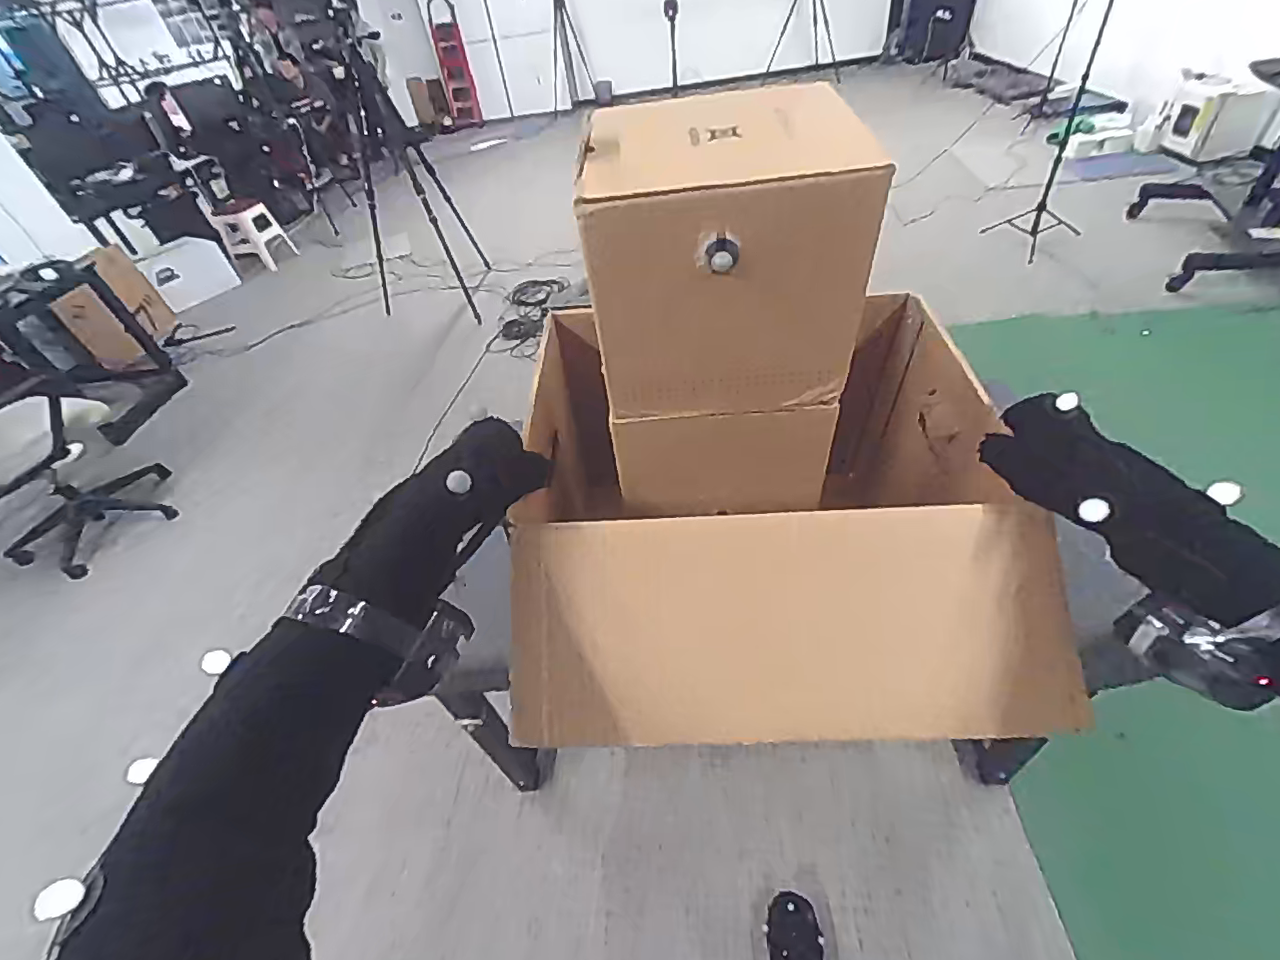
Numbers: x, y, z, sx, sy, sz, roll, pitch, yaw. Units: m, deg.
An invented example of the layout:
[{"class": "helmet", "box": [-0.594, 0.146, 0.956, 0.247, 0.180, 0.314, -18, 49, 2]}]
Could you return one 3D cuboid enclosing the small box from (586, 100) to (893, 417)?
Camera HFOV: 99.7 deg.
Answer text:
[{"class": "small box", "box": [0.062, -0.163, 0.415, 0.179, 0.176, 0.168, -4, 49, 3]}]
